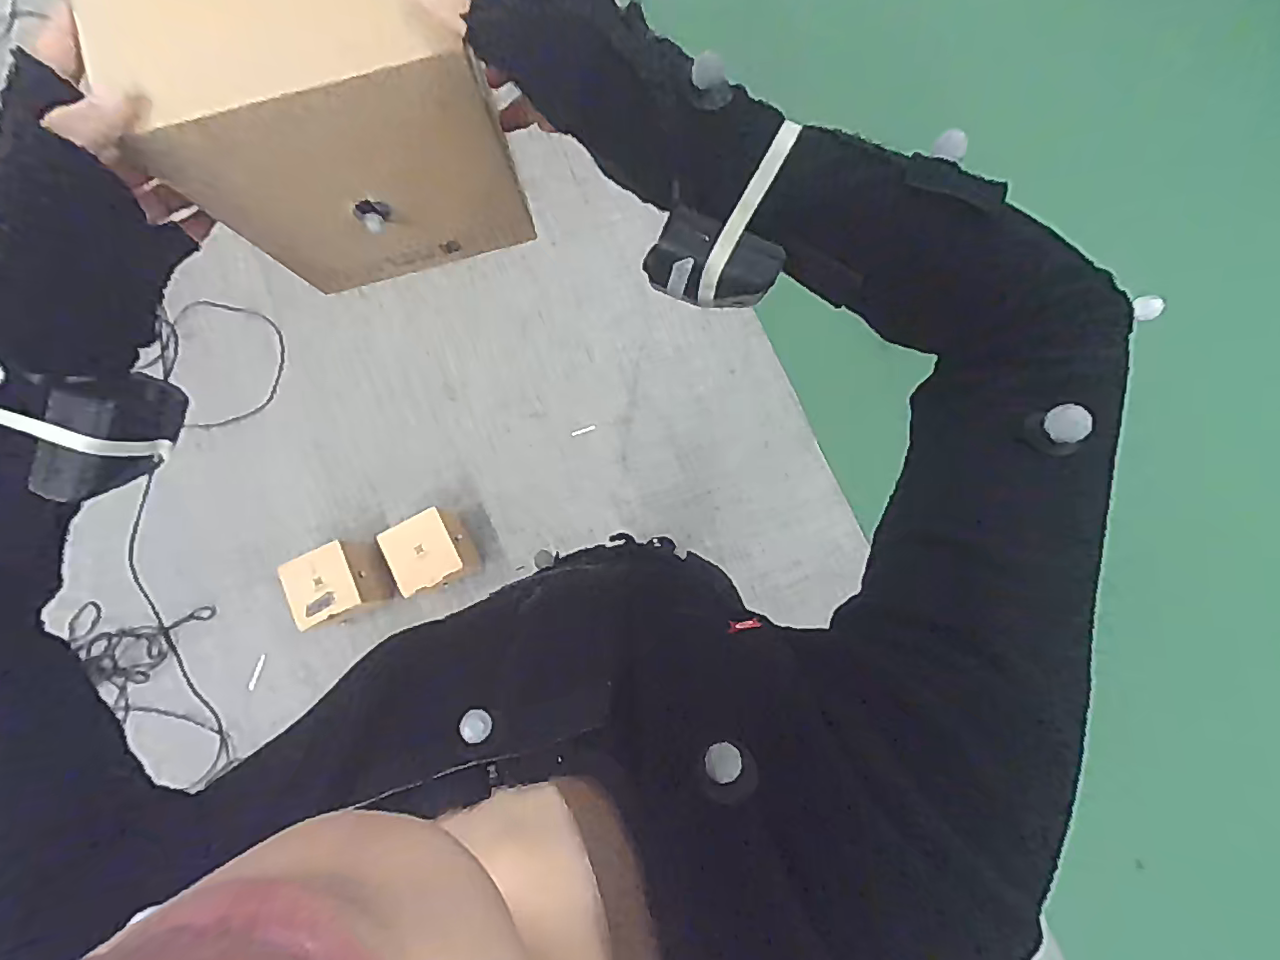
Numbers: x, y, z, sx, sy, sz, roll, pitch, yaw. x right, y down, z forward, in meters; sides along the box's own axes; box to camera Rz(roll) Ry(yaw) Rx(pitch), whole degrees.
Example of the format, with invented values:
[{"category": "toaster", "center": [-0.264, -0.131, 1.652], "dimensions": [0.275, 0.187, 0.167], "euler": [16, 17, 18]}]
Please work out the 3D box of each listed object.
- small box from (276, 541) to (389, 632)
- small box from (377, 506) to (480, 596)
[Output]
[{"category": "small box", "center": [-0.787, 0.270, 1.402], "dimensions": [0.168, 0.176, 0.179], "euler": [-25, 81, -4]}, {"category": "small box", "center": [-0.545, 0.188, 1.417], "dimensions": [0.168, 0.176, 0.179], "euler": [-28, 83, -4]}]
